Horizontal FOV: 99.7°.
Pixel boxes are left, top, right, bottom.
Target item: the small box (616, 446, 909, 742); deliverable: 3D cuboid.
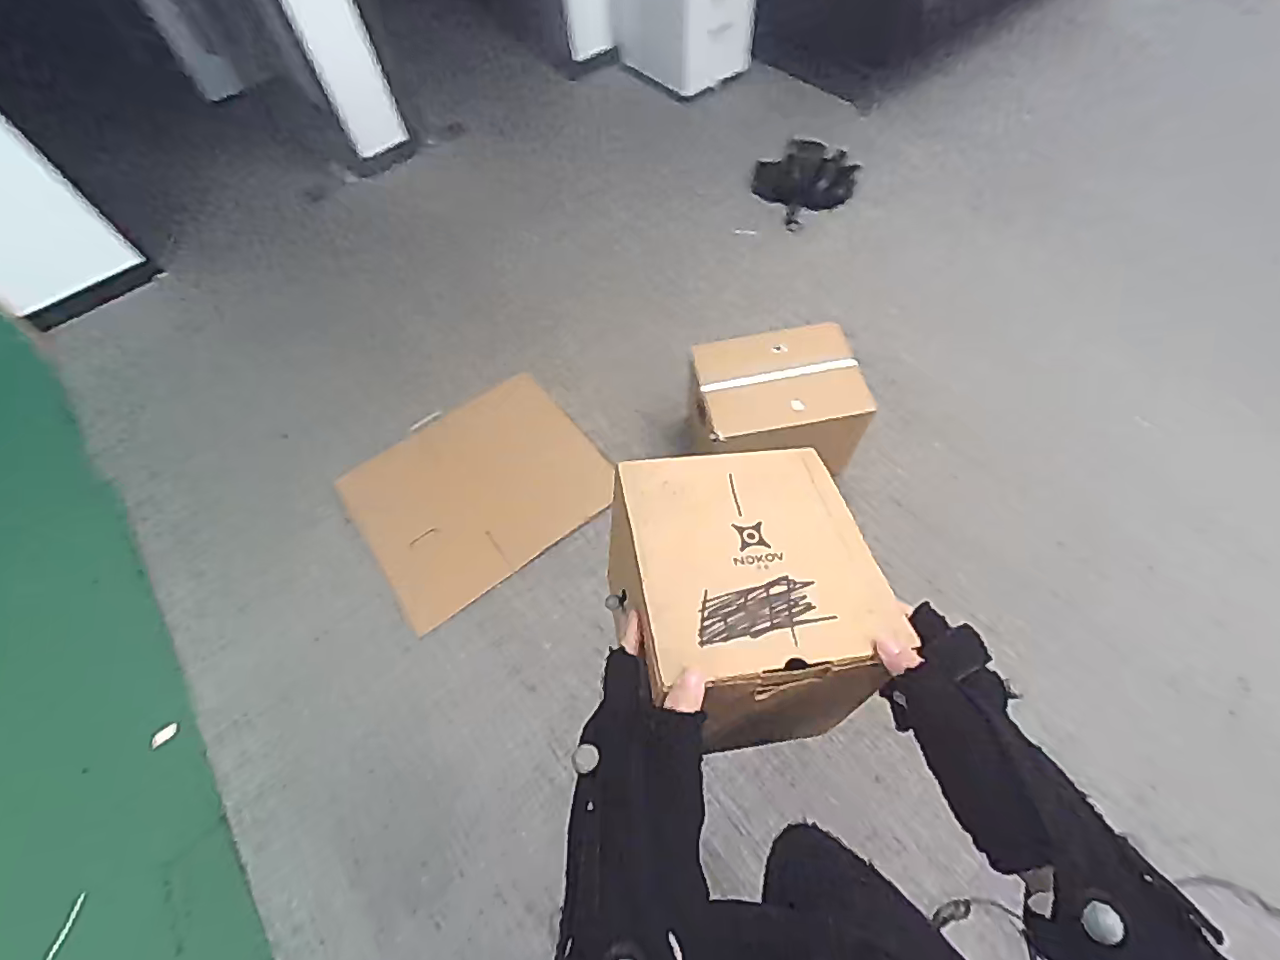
[{"bbox_3d":[0.072,0.096,0.438,0.168,0.176,0.179,-4,49,-9],"label":"small box"}]
